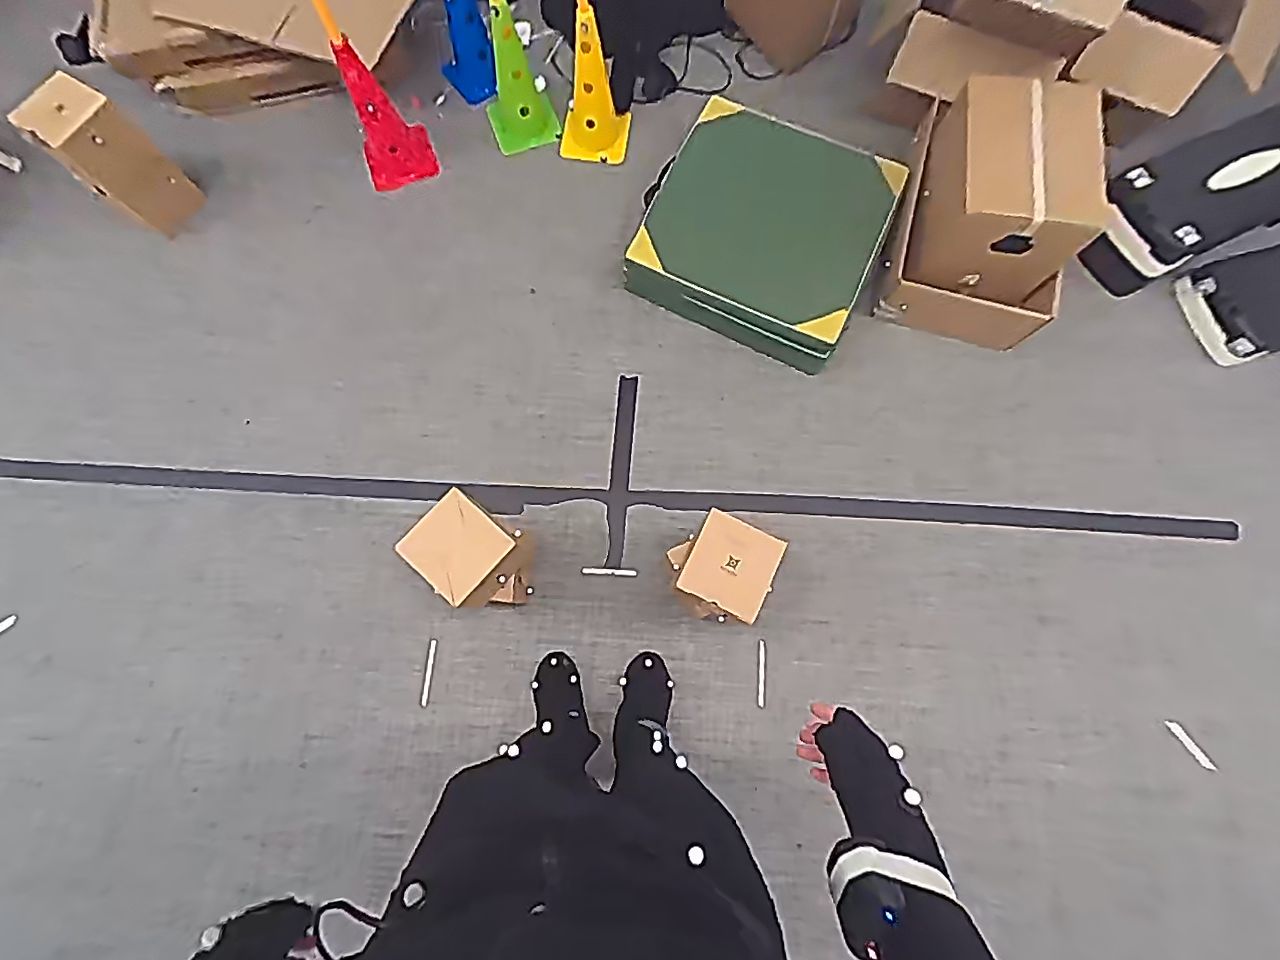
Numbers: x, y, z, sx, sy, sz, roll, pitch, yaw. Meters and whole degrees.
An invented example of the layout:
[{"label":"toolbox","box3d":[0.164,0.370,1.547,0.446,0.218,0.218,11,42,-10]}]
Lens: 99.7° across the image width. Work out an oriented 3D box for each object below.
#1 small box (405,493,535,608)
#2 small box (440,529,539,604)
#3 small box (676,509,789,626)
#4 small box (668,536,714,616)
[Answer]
[{"label":"small box","box3d":[-0.351,0.151,1.129,0.179,0.176,0.168,37,78,8]},{"label":"small box","box3d":[-0.348,0.204,1.289,0.179,0.176,0.168,5,76,3]},{"label":"small box","box3d":[0.182,0.185,1.121,0.168,0.176,0.179,27,77,5]},{"label":"small box","box3d":[0.178,0.211,1.285,0.179,0.176,0.168,-29,78,-7]}]
